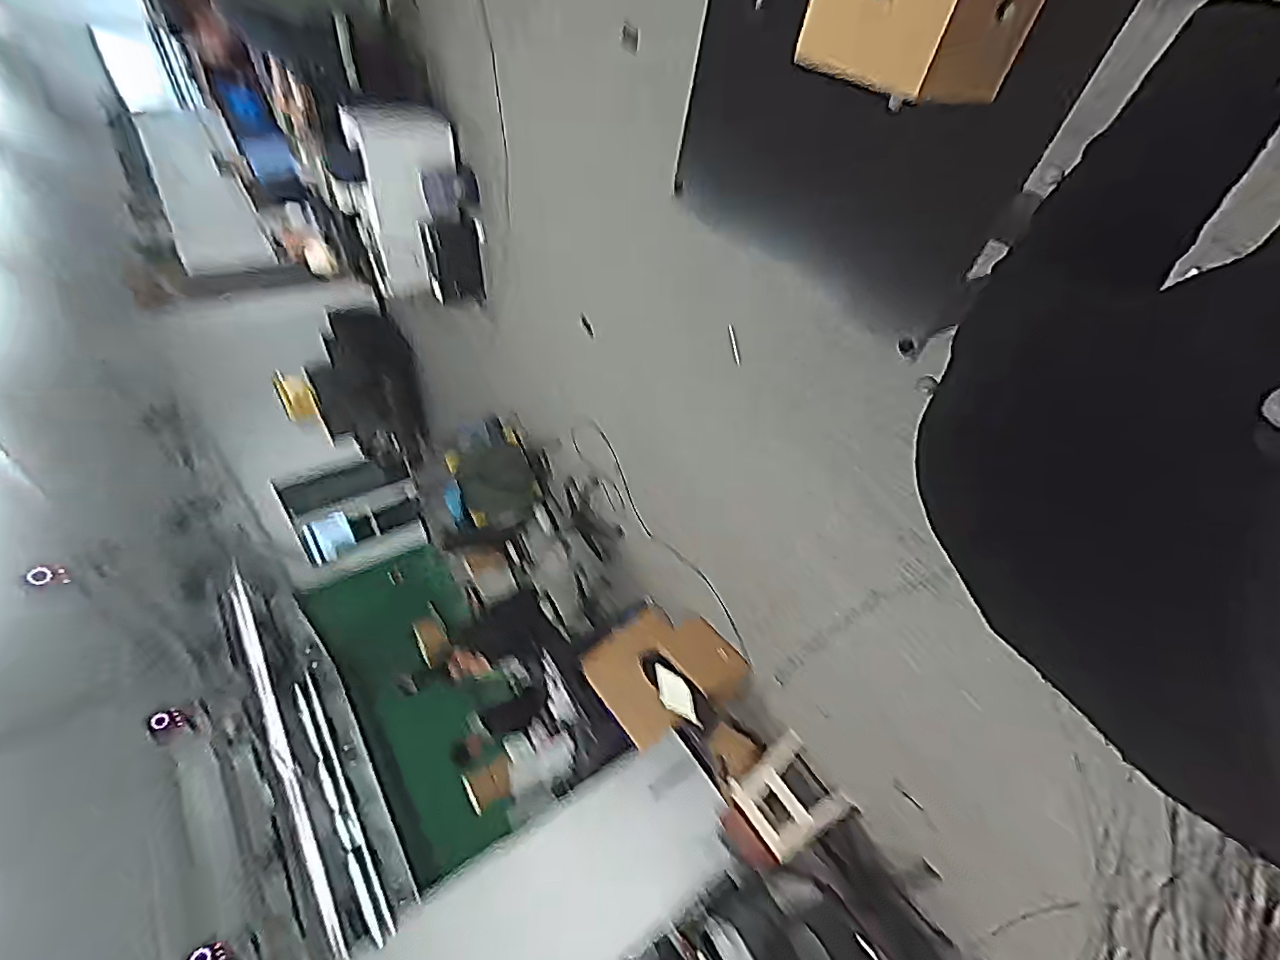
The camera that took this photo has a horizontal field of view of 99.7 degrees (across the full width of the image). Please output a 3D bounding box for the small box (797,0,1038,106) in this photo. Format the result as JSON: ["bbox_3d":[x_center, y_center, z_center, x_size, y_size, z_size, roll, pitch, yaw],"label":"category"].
[{"bbox_3d":[0.313,-0.526,0.583,0.179,0.176,0.168,49,145,31],"label":"small box"}]
